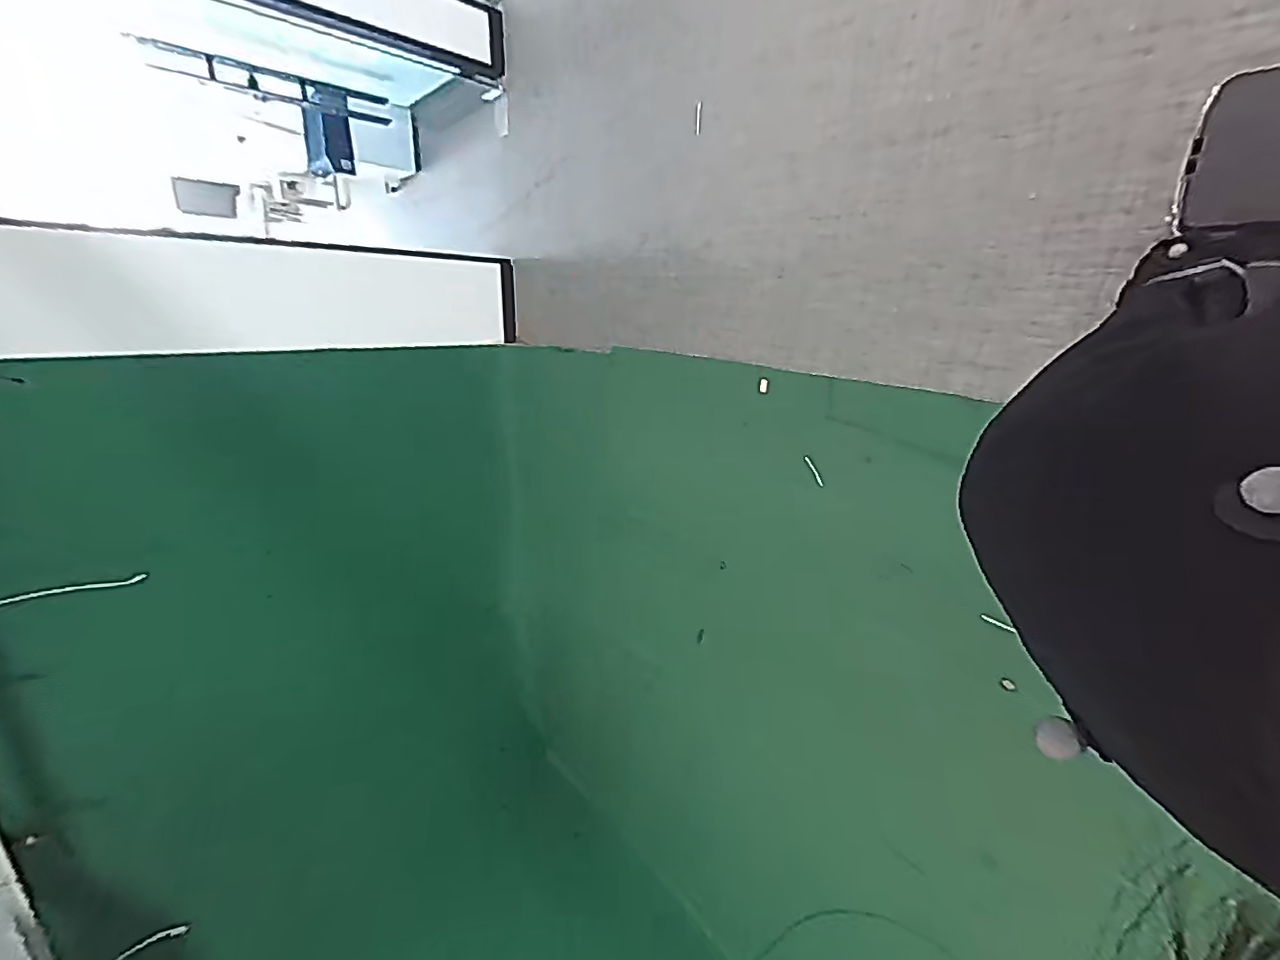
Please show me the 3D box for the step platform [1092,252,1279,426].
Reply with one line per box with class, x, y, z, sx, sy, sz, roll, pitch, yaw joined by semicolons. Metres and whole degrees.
step platform;1.154;-0.200;0.826;0.684;0.204;0.286;20;115;43
